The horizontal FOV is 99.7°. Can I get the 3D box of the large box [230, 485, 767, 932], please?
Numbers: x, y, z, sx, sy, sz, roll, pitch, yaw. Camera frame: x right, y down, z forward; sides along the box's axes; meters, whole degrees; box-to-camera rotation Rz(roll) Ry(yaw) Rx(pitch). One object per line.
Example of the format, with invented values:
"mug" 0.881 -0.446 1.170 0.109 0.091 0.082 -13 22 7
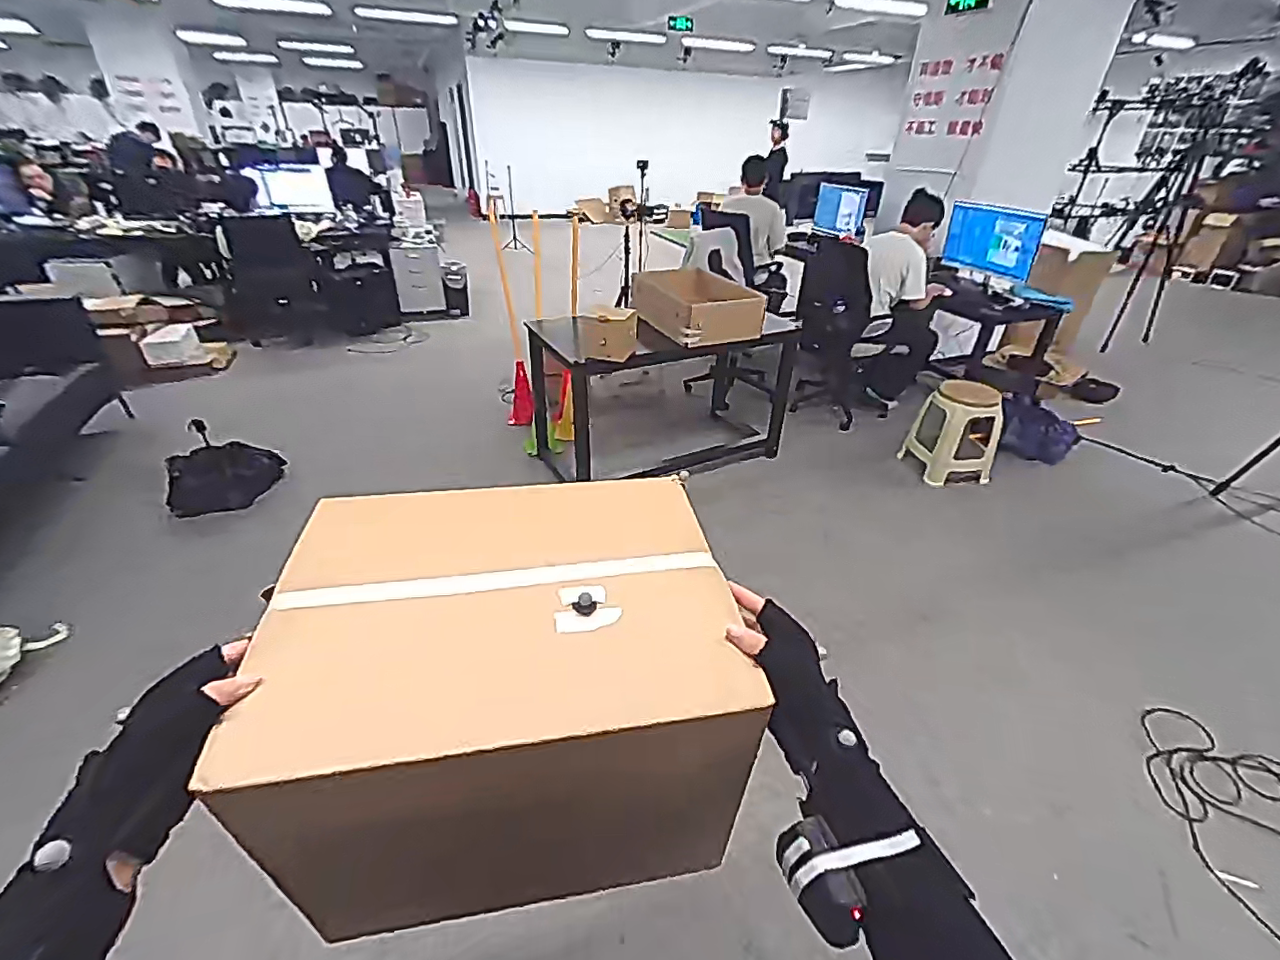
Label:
"large box" -0.127 0.226 0.605 0.408 0.320 0.320 -3 36 -11
